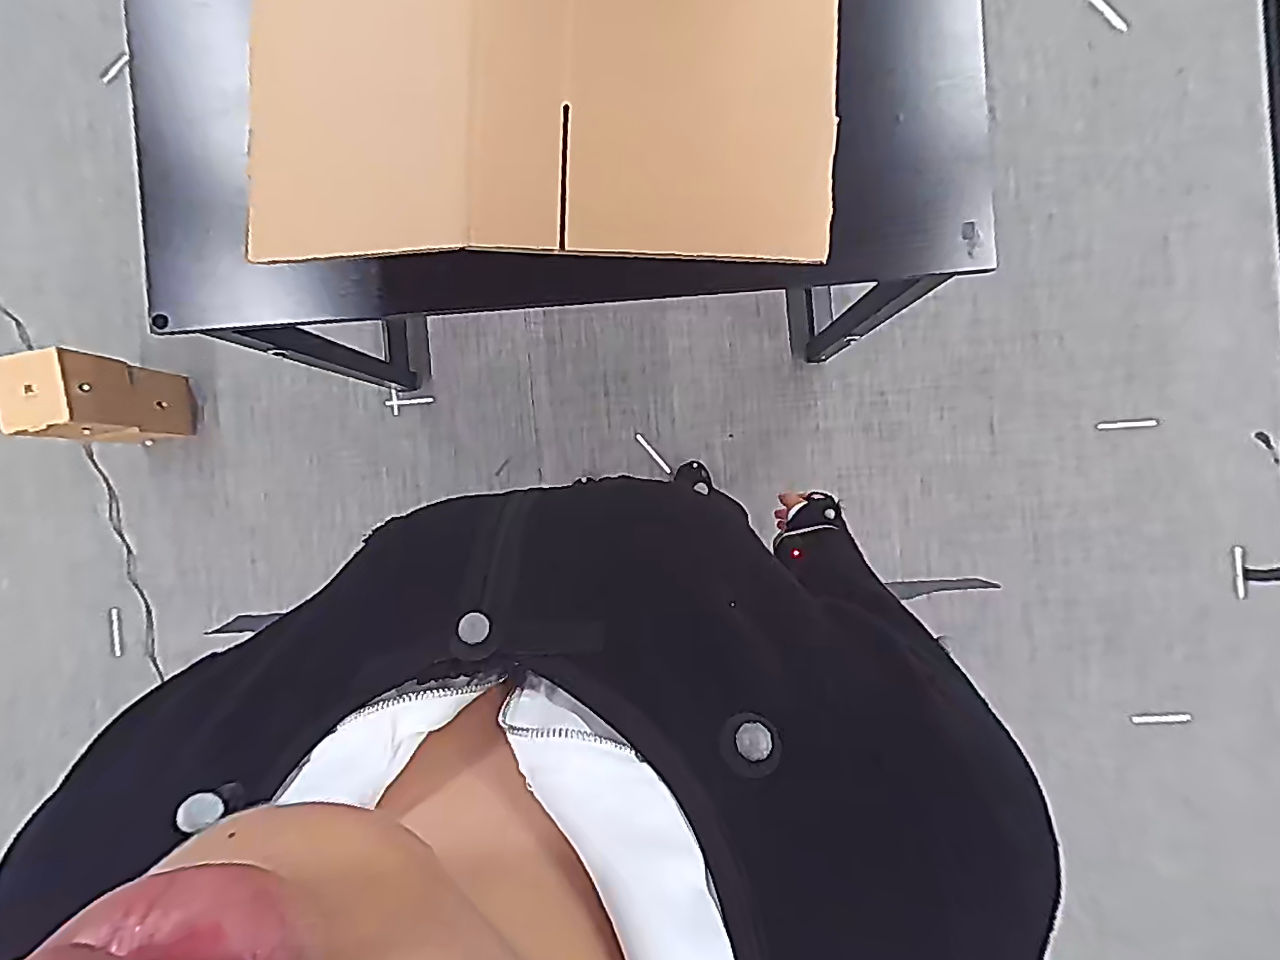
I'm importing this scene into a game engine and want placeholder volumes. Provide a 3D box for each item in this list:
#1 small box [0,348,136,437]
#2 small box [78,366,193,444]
[{"bbox_3d":[-1.367,-0.201,1.294,0.168,0.176,0.179,-10,90,1],"label":"small box"},{"bbox_3d":[-1.361,-0.196,1.457,0.168,0.176,0.179,-8,91,2],"label":"small box"}]
